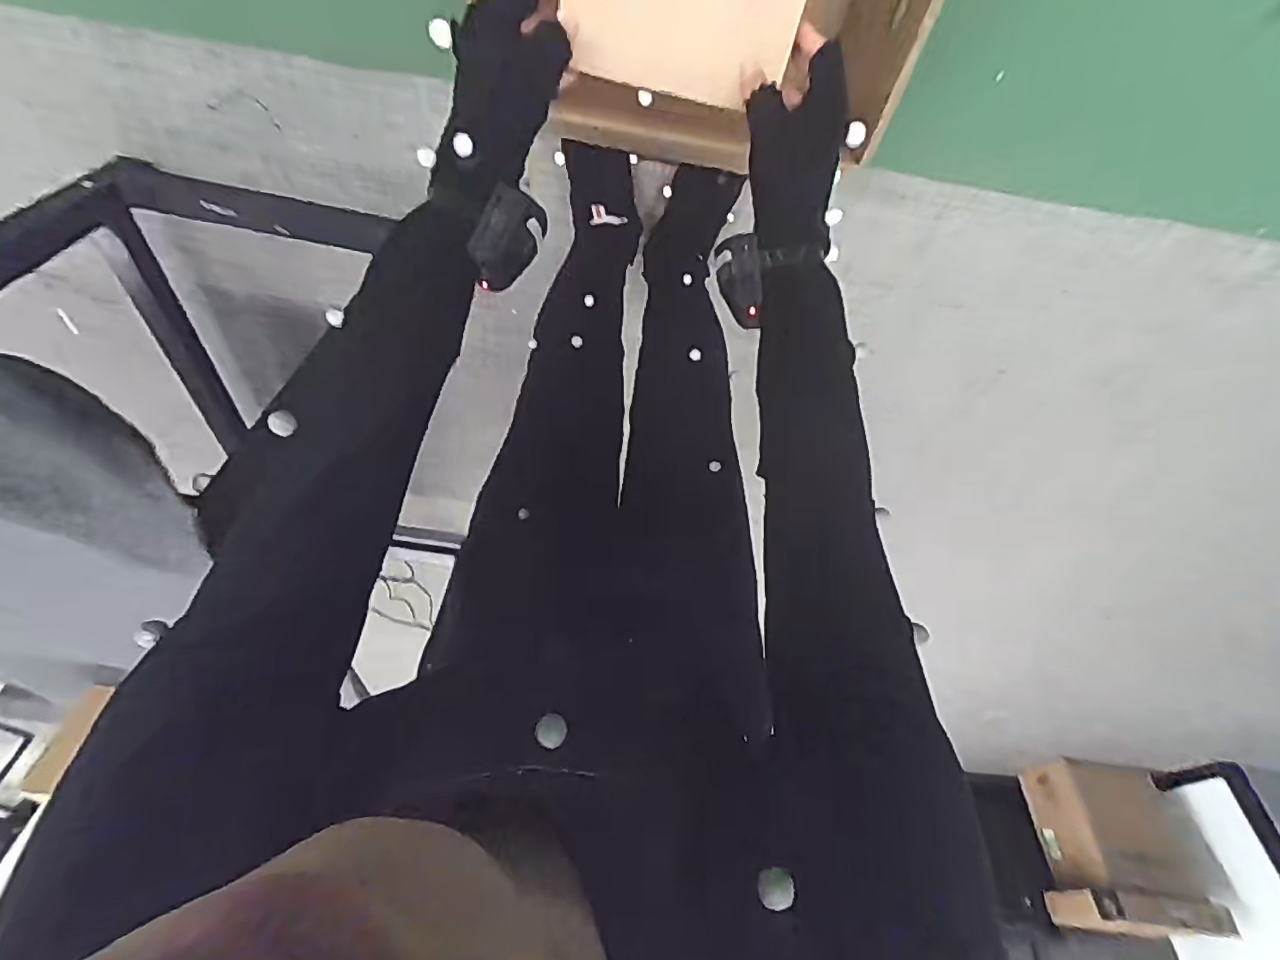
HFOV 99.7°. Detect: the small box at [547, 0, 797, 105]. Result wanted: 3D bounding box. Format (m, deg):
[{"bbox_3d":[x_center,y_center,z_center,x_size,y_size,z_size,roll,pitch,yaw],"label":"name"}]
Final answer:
[{"bbox_3d":[0.030,-0.420,0.423,0.179,0.176,0.168,8,131,-9],"label":"small box"}]
